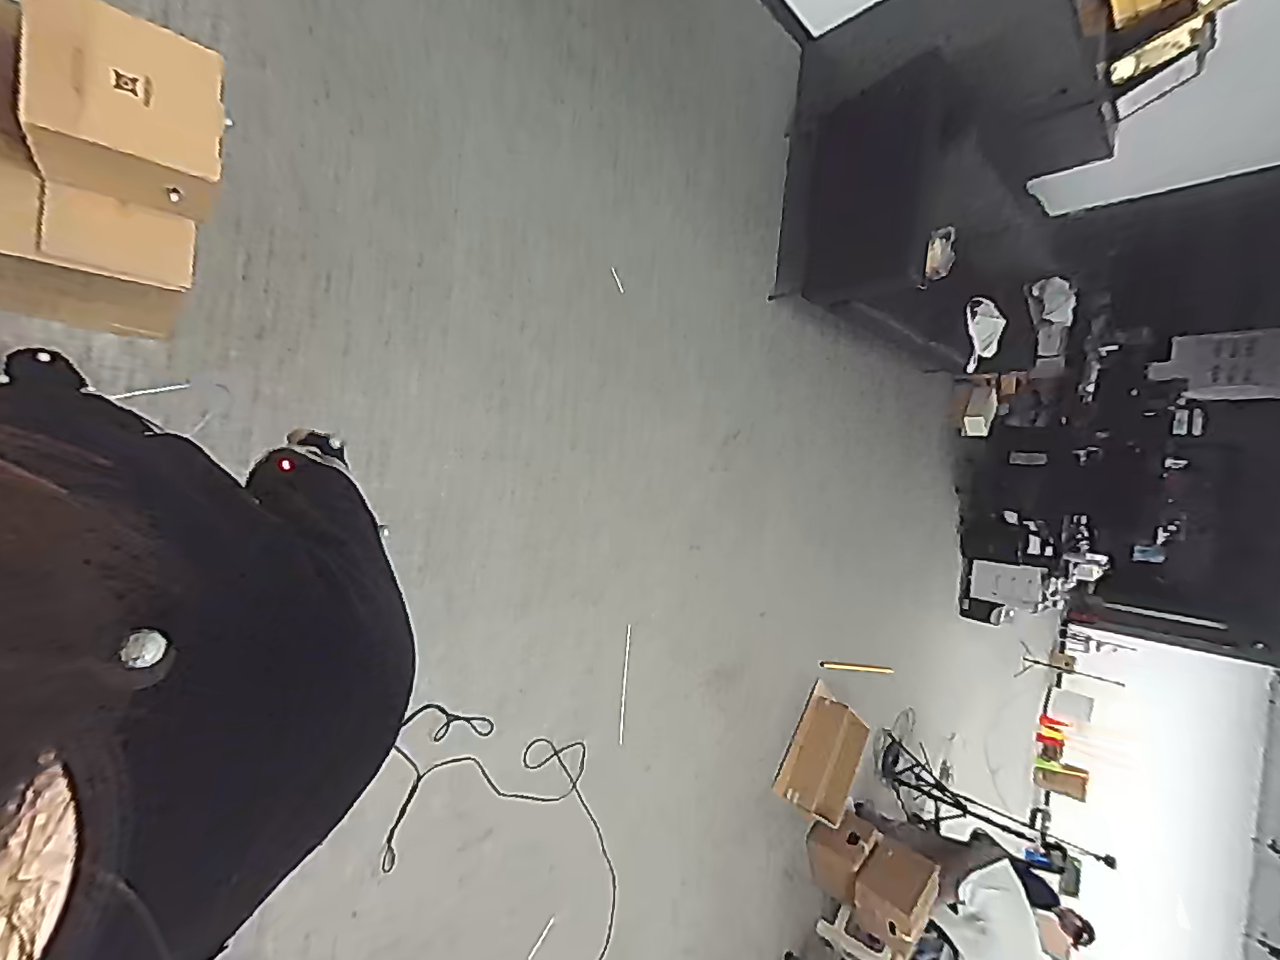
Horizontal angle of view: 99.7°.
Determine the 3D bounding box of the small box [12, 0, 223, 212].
[{"bbox_3d":[-0.662,-0.472,0.698,0.179,0.176,0.168,3,91,-43],"label":"small box"}]
